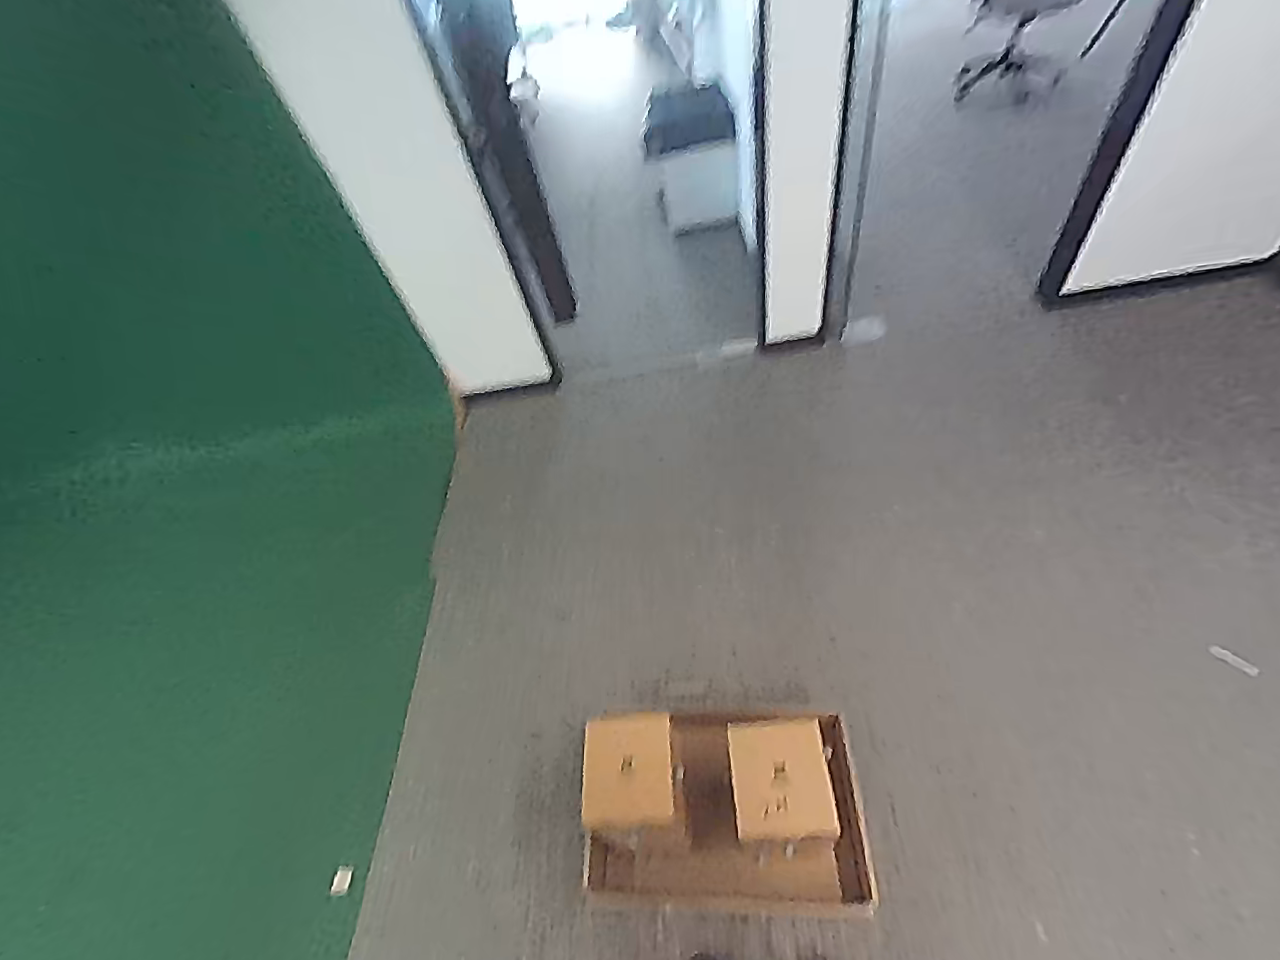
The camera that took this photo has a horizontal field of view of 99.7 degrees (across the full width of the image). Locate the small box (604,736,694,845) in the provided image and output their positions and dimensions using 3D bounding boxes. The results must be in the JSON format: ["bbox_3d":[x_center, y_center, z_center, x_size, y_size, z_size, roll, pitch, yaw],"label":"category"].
[{"bbox_3d":[0.024,0.672,1.168,0.168,0.176,0.179,-7,49,9],"label":"small box"}]

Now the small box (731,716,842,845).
[{"bbox_3d":[0.260,0.552,0.990,0.168,0.176,0.179,-8,50,9],"label":"small box"}]

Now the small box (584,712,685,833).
[{"bbox_3d":[-0.005,0.568,1.047,0.168,0.176,0.179,-7,51,7],"label":"small box"}]
